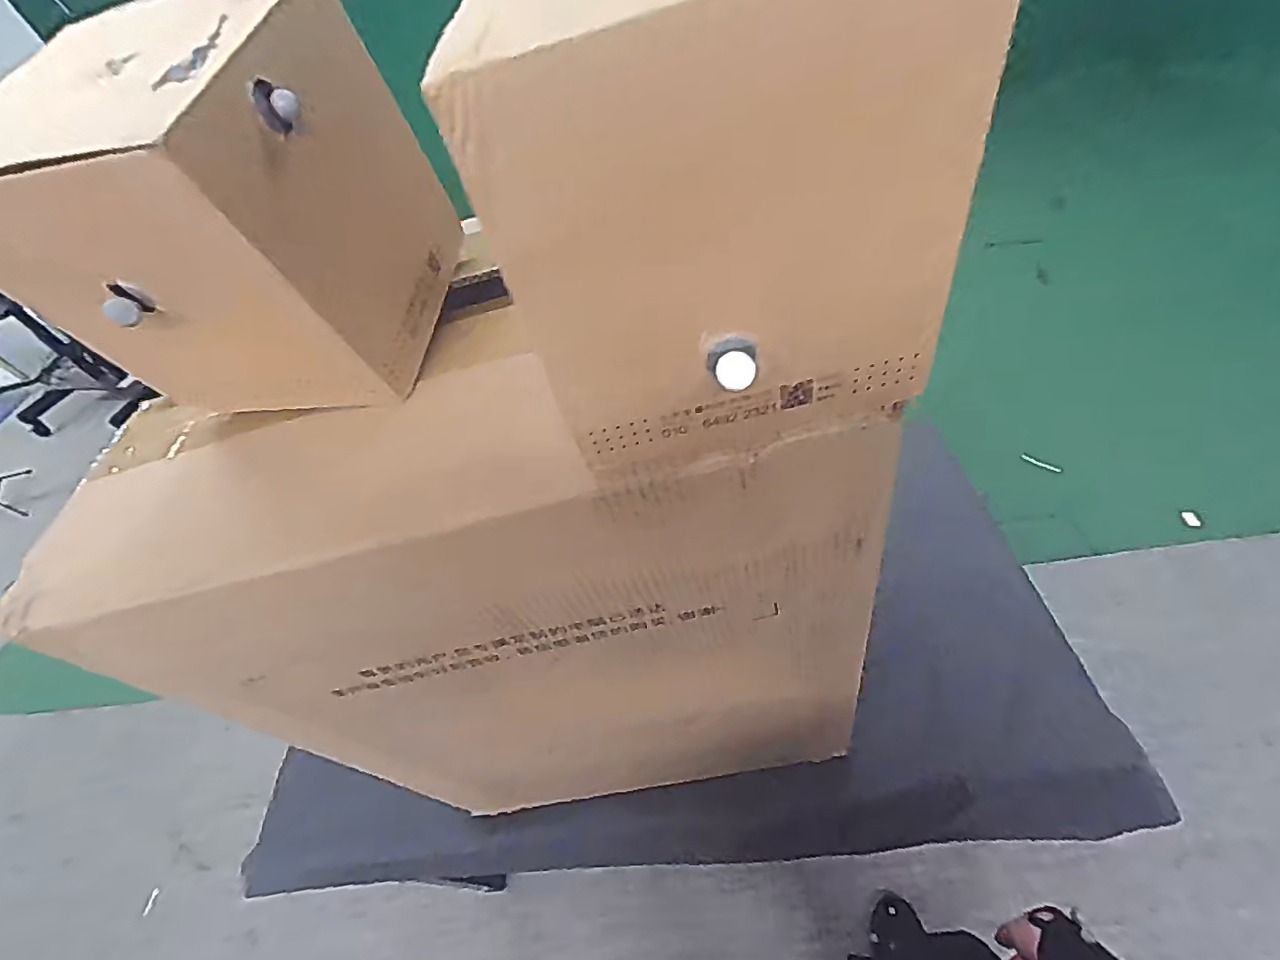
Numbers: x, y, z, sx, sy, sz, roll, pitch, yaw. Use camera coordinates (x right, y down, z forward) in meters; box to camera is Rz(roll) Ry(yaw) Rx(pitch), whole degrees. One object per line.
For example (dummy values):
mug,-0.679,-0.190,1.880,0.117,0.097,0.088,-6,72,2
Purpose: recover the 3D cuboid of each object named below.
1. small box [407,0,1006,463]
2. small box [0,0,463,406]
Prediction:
small box,0.024,-0.136,0.254,0.168,0.176,0.179,-13,50,6
small box,-0.242,-0.158,0.331,0.179,0.176,0.168,-1,63,14
